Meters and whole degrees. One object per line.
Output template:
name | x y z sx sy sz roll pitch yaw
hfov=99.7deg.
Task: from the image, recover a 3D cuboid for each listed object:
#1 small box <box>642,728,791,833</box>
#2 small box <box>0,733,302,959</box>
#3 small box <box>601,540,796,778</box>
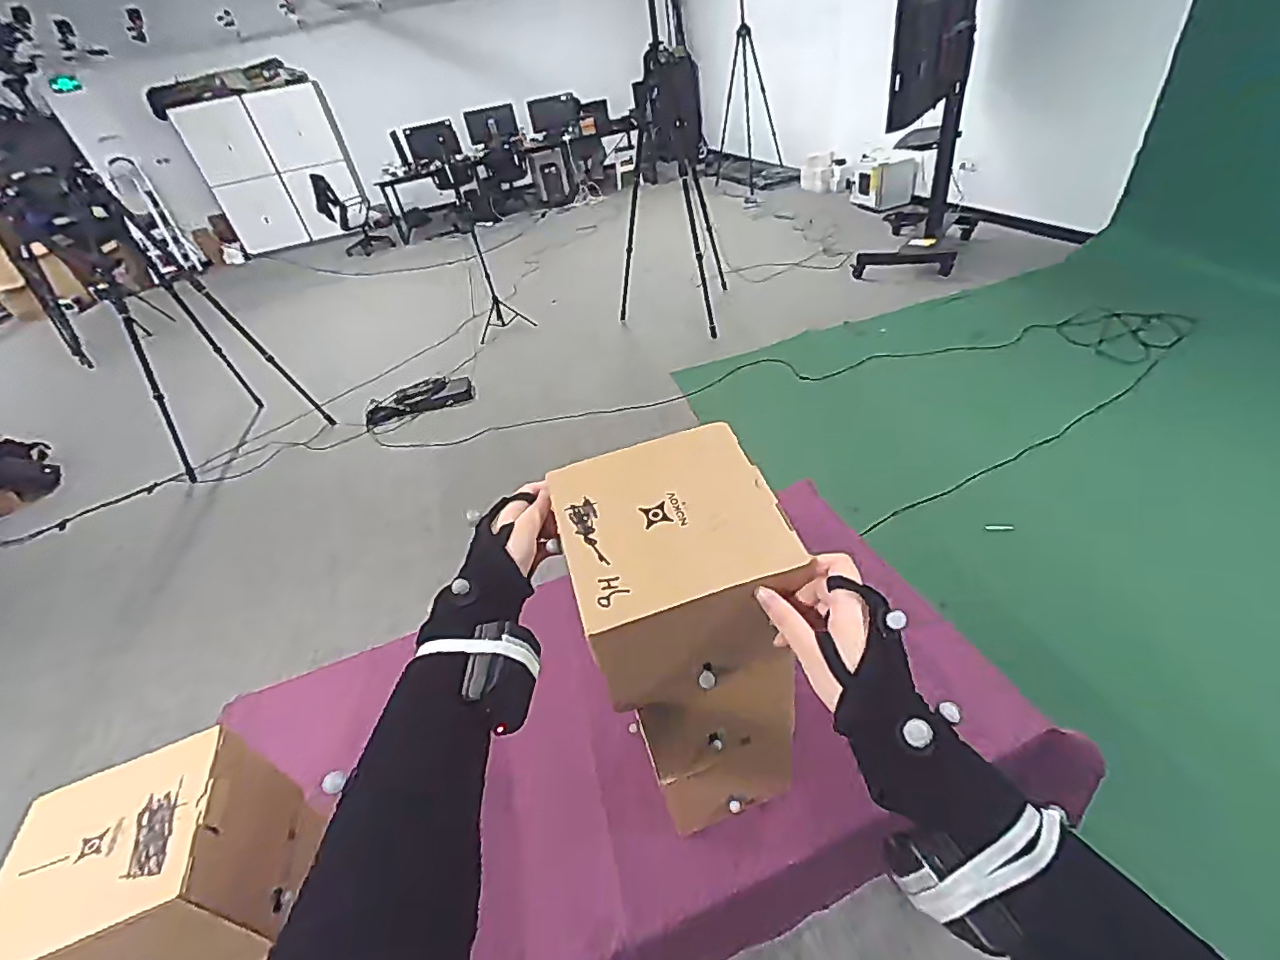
small box | 0.089 0.333 0.733 0.168 0.176 0.179 -19 39 -7
small box | -0.472 0.397 0.537 0.179 0.176 0.168 -21 39 -11
small box | 0.064 0.206 0.633 0.168 0.176 0.179 -18 40 -7
